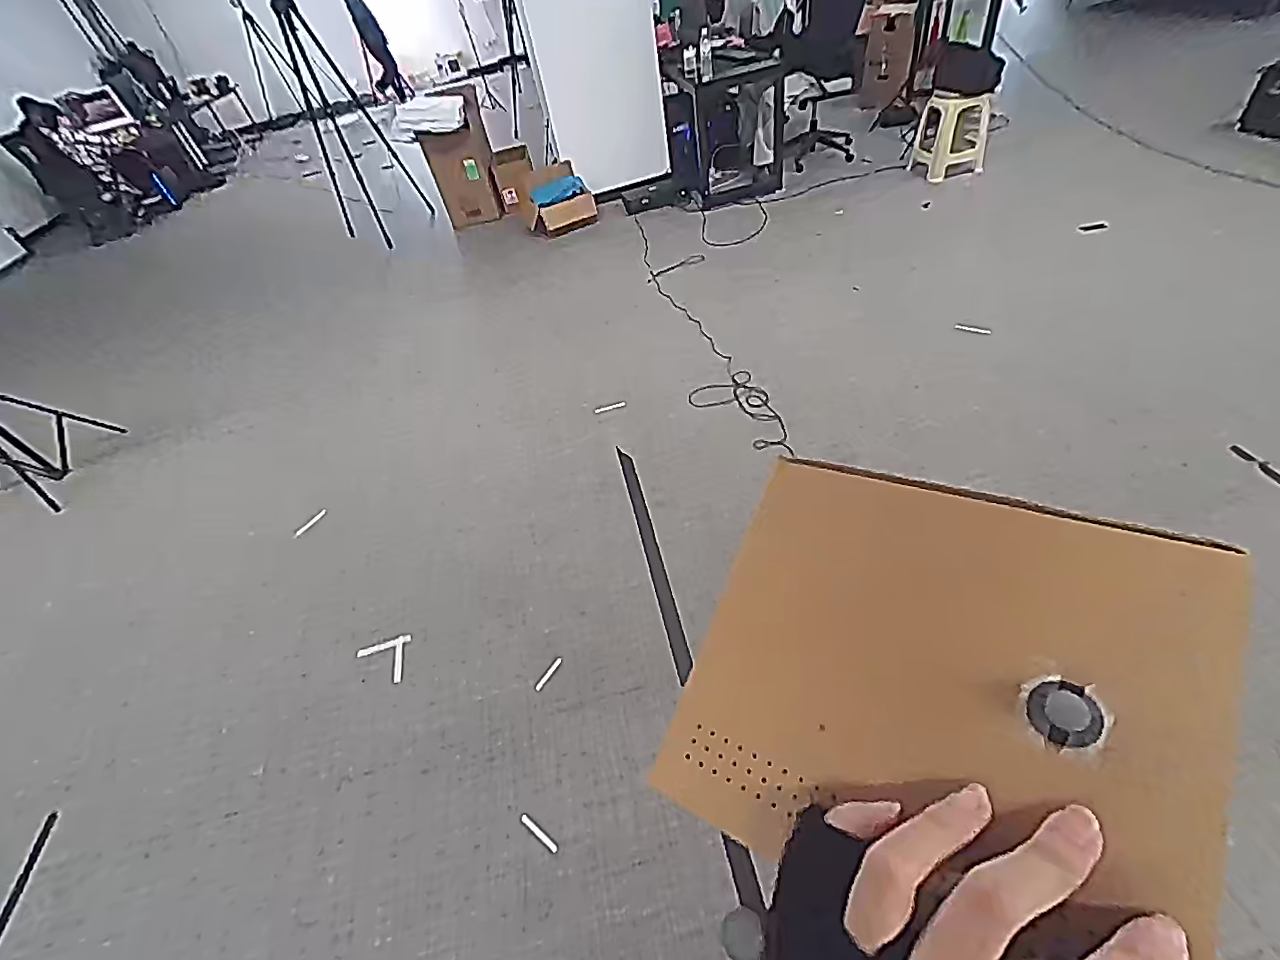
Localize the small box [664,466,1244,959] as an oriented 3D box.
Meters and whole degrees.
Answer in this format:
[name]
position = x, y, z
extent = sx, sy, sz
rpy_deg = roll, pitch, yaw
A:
[small box]
position = 0.141, 0.117, 0.276
extent = 0.179, 0.168, 0.176
rpy_deg = 14, 70, 32
